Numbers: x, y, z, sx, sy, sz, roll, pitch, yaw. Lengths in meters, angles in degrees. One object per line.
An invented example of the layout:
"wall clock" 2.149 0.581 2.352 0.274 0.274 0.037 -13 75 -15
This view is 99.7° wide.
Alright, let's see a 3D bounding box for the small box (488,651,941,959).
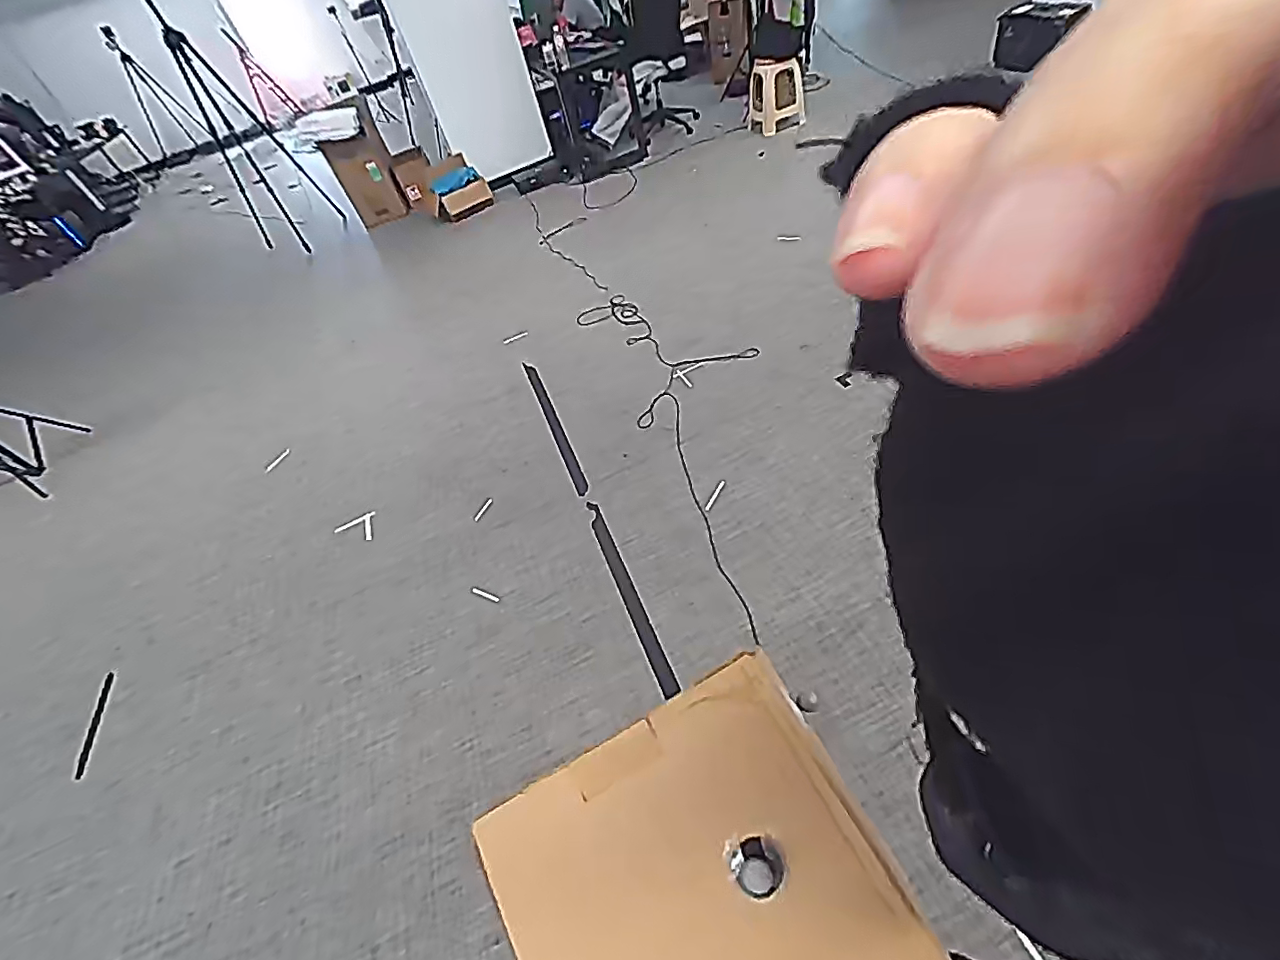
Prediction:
"small box" 0.048 0.223 0.324 0.168 0.179 0.176 -33 68 4
